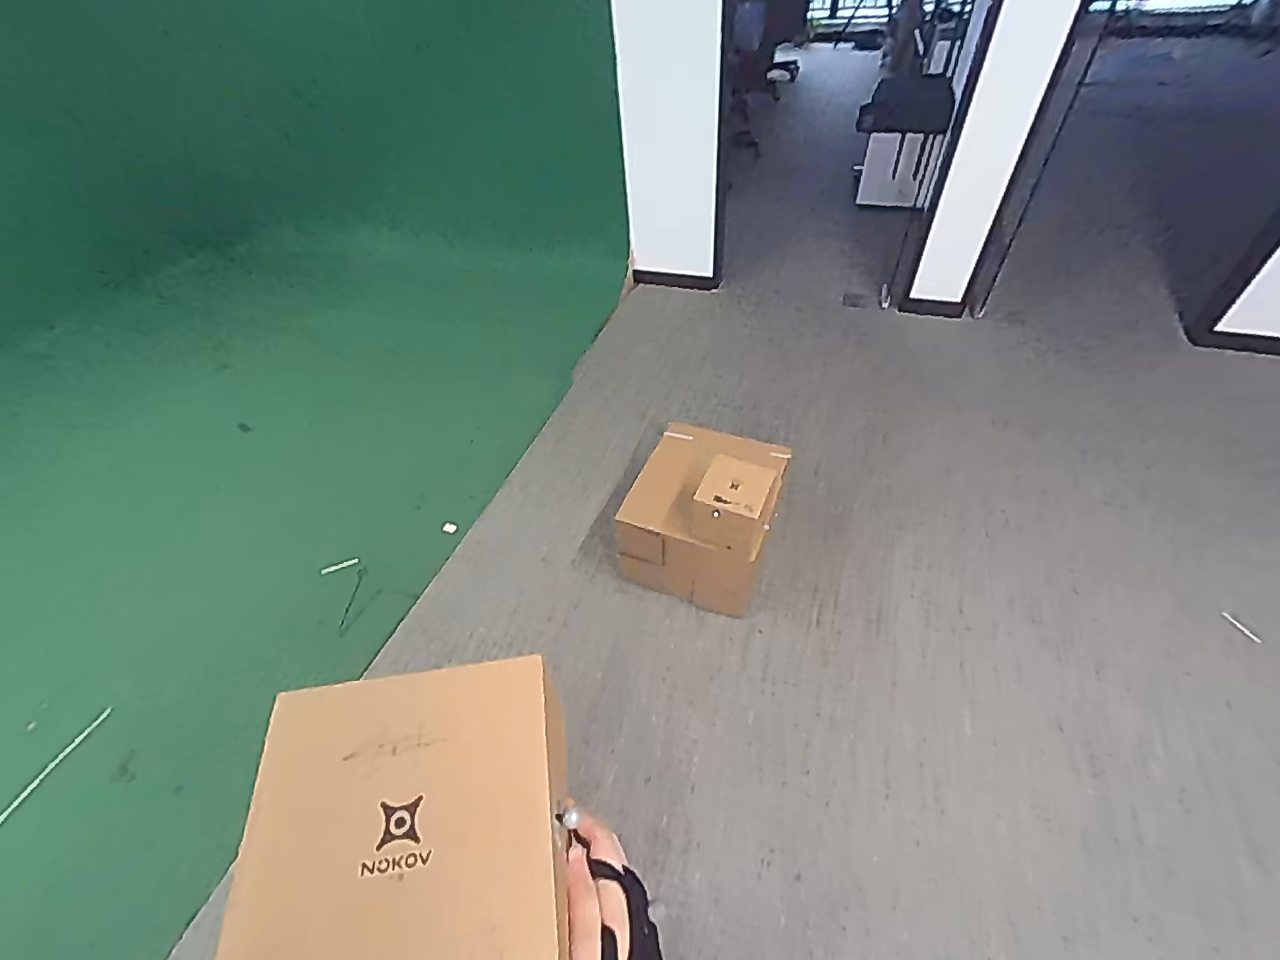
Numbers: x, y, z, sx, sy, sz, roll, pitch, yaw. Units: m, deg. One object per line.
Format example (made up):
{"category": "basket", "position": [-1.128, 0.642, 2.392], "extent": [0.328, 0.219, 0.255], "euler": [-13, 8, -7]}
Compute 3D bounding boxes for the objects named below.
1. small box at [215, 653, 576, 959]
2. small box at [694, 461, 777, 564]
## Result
{"category": "small box", "position": [-0.135, 0.240, 0.365], "extent": [0.168, 0.176, 0.179], "euler": [-6, 52, -6]}
{"category": "small box", "position": [0.242, 0.085, 1.405], "extent": [0.168, 0.176, 0.179], "euler": [17, 49, 20]}
